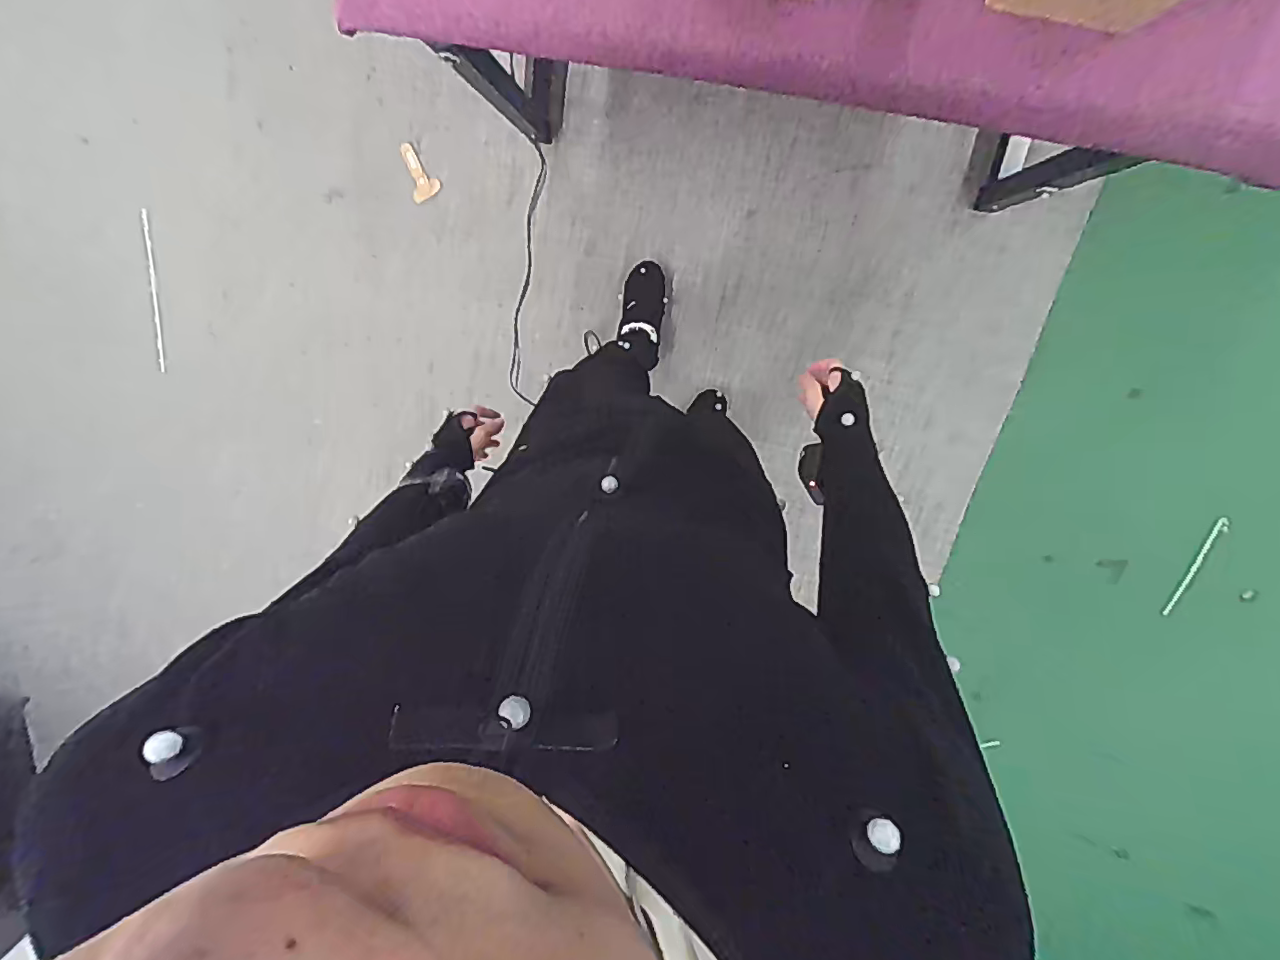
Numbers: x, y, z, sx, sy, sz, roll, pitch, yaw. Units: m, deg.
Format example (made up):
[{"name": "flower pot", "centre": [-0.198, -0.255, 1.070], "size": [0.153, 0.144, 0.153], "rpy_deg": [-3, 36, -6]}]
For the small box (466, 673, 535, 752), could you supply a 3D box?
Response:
[{"name": "small box", "centre": [-0.477, 0.799, 1.873], "size": [0.179, 0.176, 0.168], "rpy_deg": [15, 109, 3]}]

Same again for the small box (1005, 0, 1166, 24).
[{"name": "small box", "centre": [0.498, -0.593, 0.529], "size": [0.179, 0.176, 0.168], "rpy_deg": [14, 108, 3]}]
